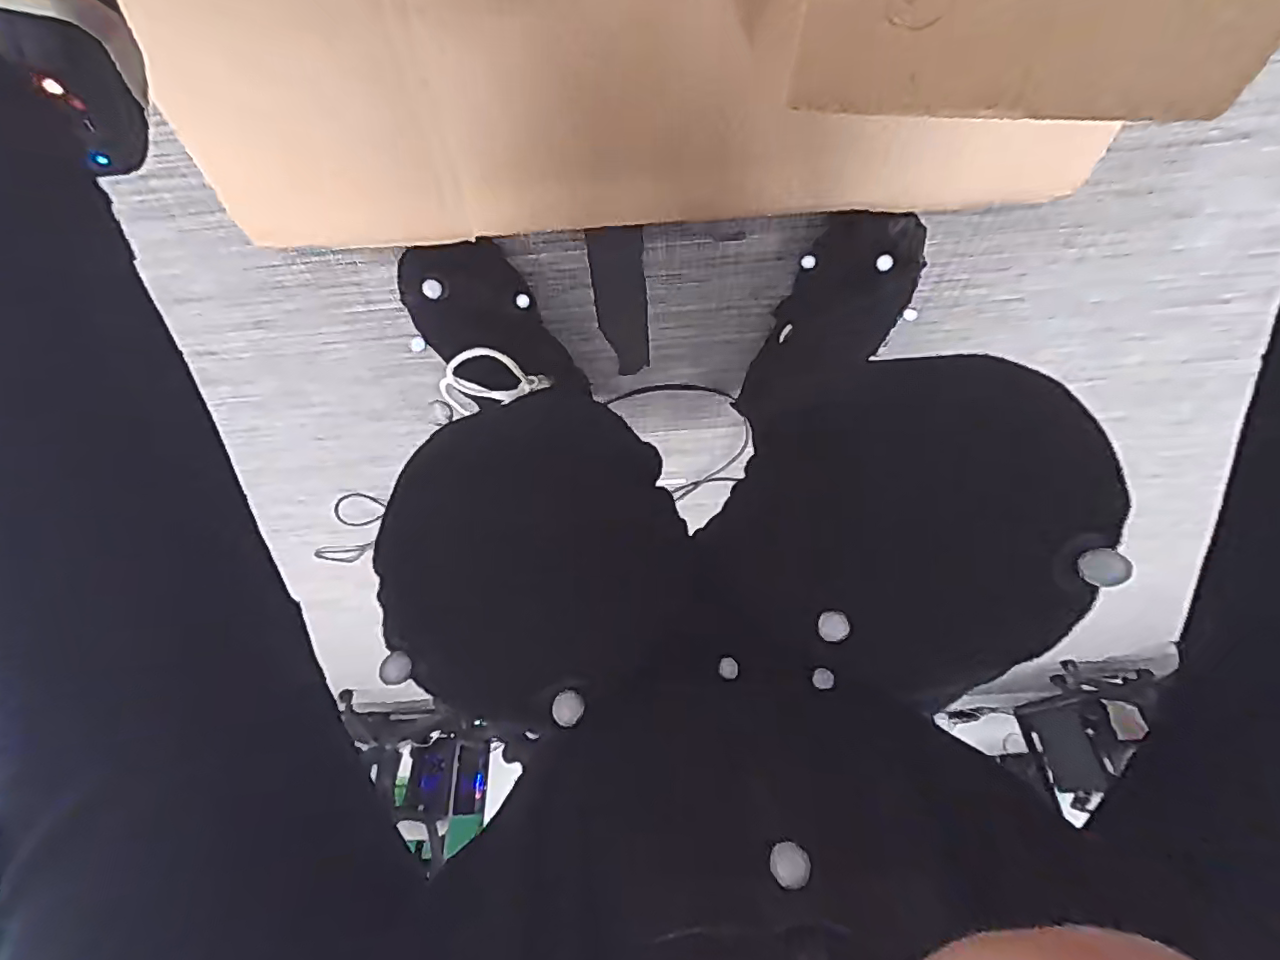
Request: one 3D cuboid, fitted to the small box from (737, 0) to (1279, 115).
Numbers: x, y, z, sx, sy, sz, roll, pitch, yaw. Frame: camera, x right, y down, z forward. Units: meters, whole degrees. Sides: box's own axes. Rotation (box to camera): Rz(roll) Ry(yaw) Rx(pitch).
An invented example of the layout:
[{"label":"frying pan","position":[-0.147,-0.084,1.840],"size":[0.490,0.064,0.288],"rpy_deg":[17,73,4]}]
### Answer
[{"label":"small box","position":[0.127,-0.253,0.181],"size":[0.179,0.176,0.168],"rpy_deg":[-1,146,-5]}]
